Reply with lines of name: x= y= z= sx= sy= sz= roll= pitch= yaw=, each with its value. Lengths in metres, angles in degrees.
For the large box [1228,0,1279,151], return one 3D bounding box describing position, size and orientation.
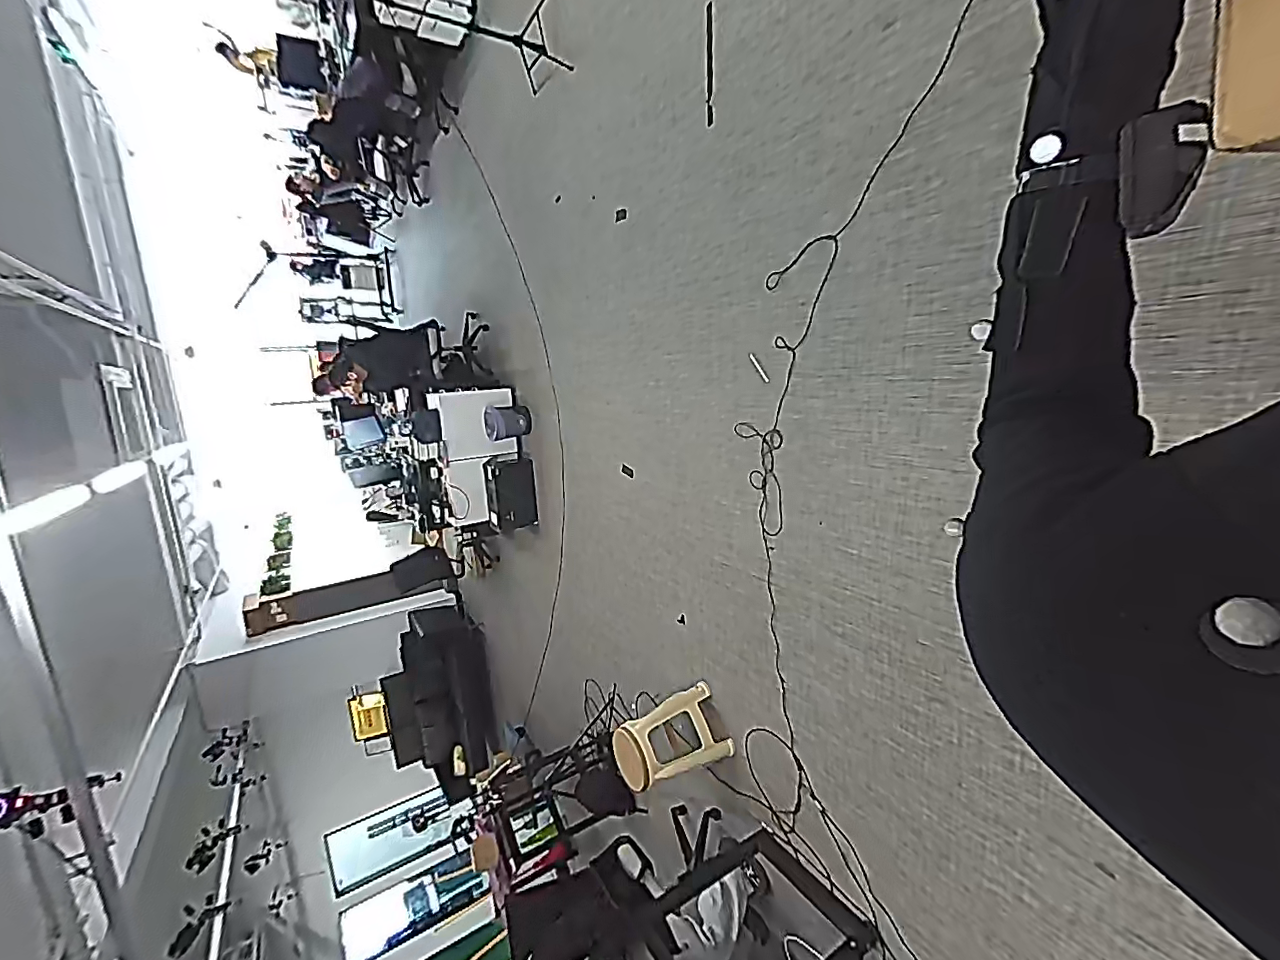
large box: x=0.525 y=-0.356 z=0.180 sx=0.408 sy=0.320 sz=0.320 roll=10 pitch=116 yaw=56
